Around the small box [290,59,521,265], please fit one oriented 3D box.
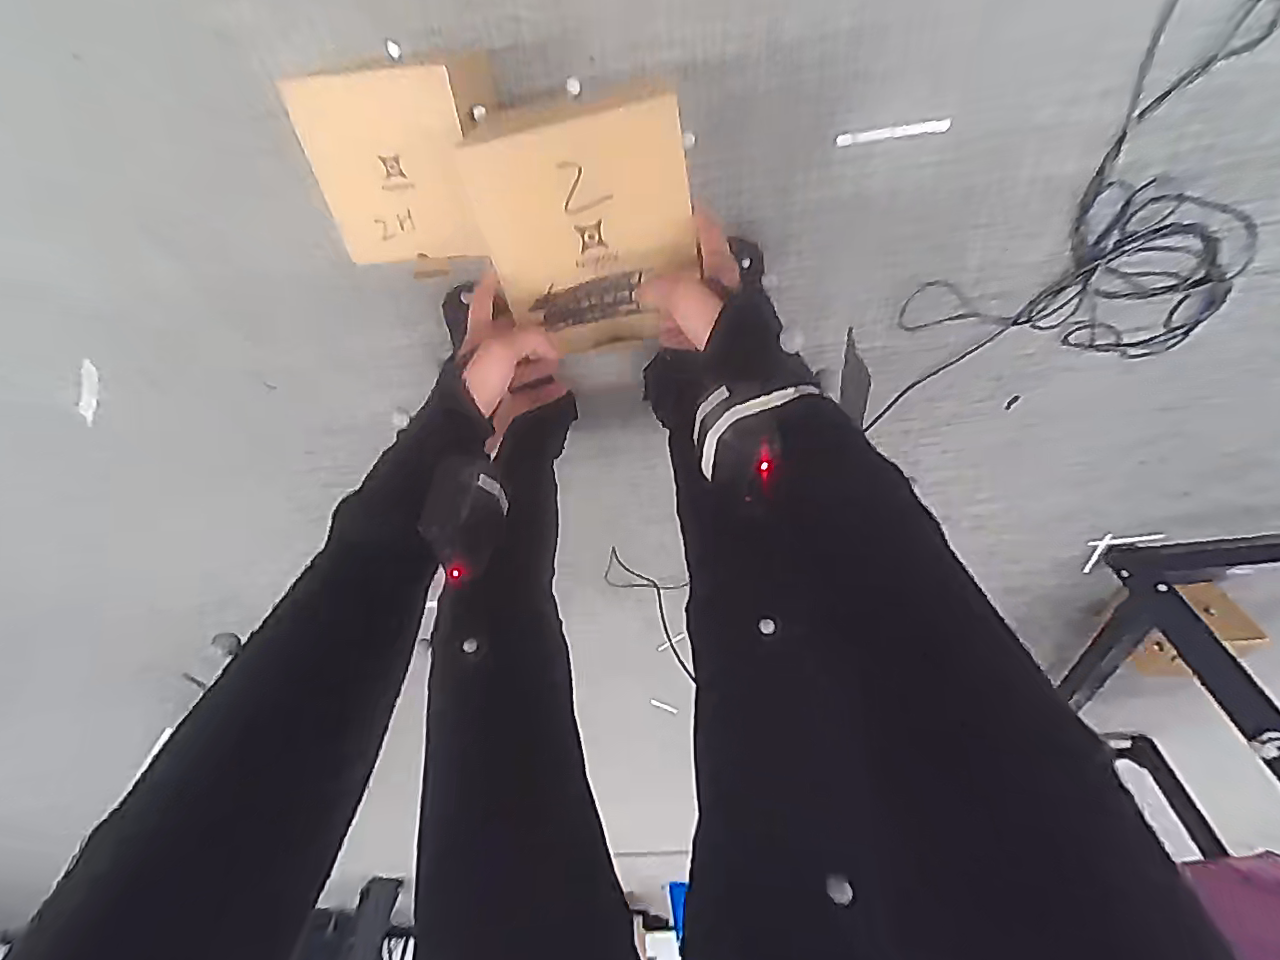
[{"bbox_3d":[-0.245,-0.367,0.620,0.168,0.176,0.179,-2,132,3],"label":"small box"}]
